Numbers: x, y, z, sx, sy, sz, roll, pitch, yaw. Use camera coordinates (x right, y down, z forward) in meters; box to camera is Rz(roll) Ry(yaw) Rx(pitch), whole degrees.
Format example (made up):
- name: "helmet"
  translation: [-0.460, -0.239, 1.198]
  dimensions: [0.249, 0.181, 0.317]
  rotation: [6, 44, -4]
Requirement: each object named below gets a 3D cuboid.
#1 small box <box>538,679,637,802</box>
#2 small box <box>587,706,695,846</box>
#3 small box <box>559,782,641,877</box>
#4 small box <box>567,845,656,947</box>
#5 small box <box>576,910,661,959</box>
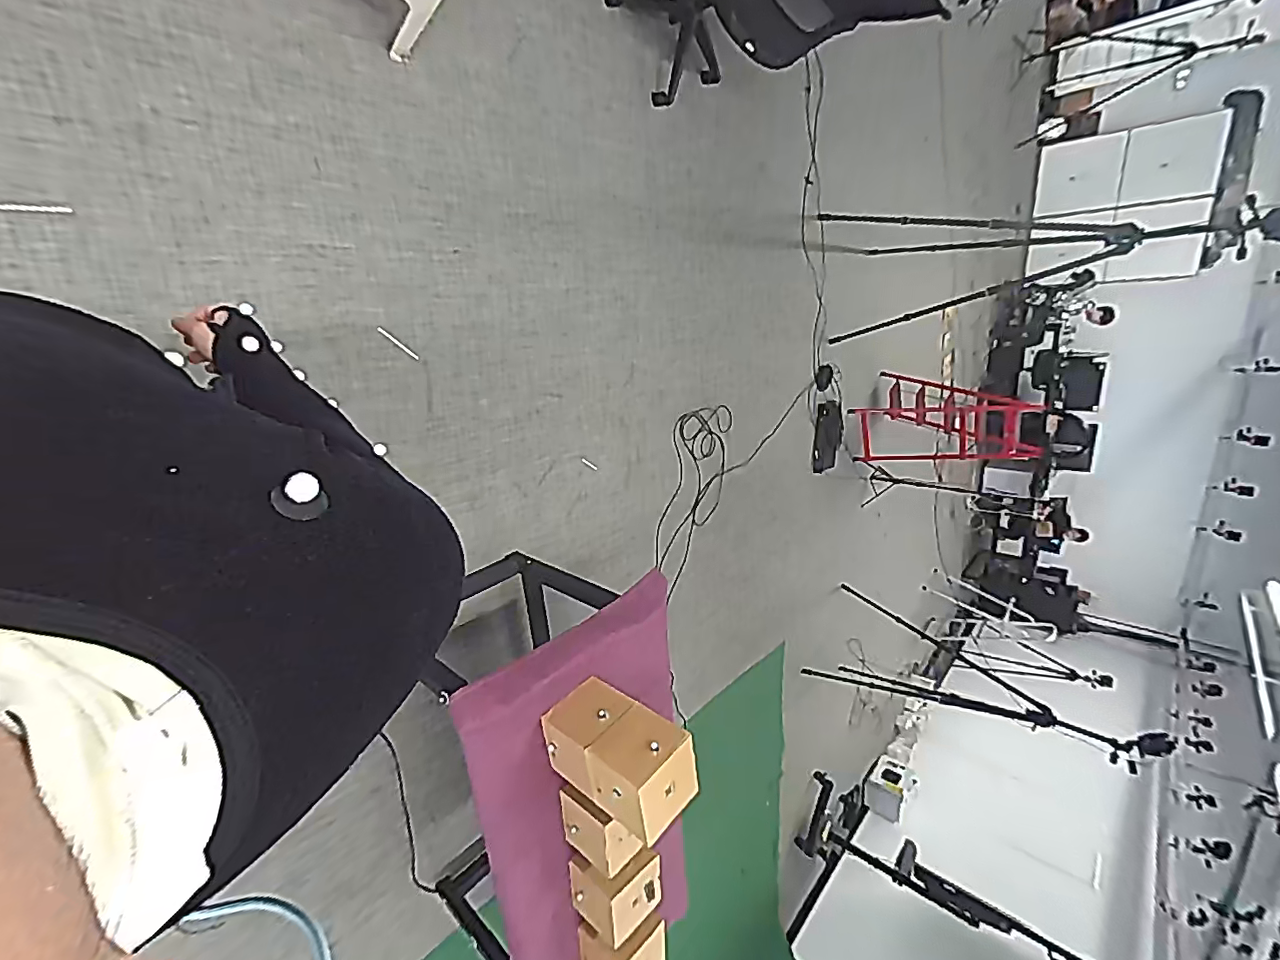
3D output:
- name: "small box"
  translation: [-0.117, 0.616, 1.306]
  dimensions: [0.179, 0.176, 0.168]
  rotation: [-26, 117, -41]
- name: "small box"
  translation: [-0.002, 0.642, 1.195]
  dimensions: [0.179, 0.176, 0.168]
  rotation: [-26, 117, -42]
- name: "small box"
  translation: [-0.086, 0.849, 1.393]
  dimensions: [0.179, 0.176, 0.168]
  rotation: [-20, 113, -43]
- name: "small box"
  translation: [-0.075, 1.075, 1.457]
  dimensions: [0.179, 0.176, 0.168]
  rotation: [-17, 111, -43]
- name: "small box"
  translation: [-0.059, 1.308, 1.528]
  dimensions: [0.179, 0.176, 0.168]
  rotation: [-19, 111, -44]
